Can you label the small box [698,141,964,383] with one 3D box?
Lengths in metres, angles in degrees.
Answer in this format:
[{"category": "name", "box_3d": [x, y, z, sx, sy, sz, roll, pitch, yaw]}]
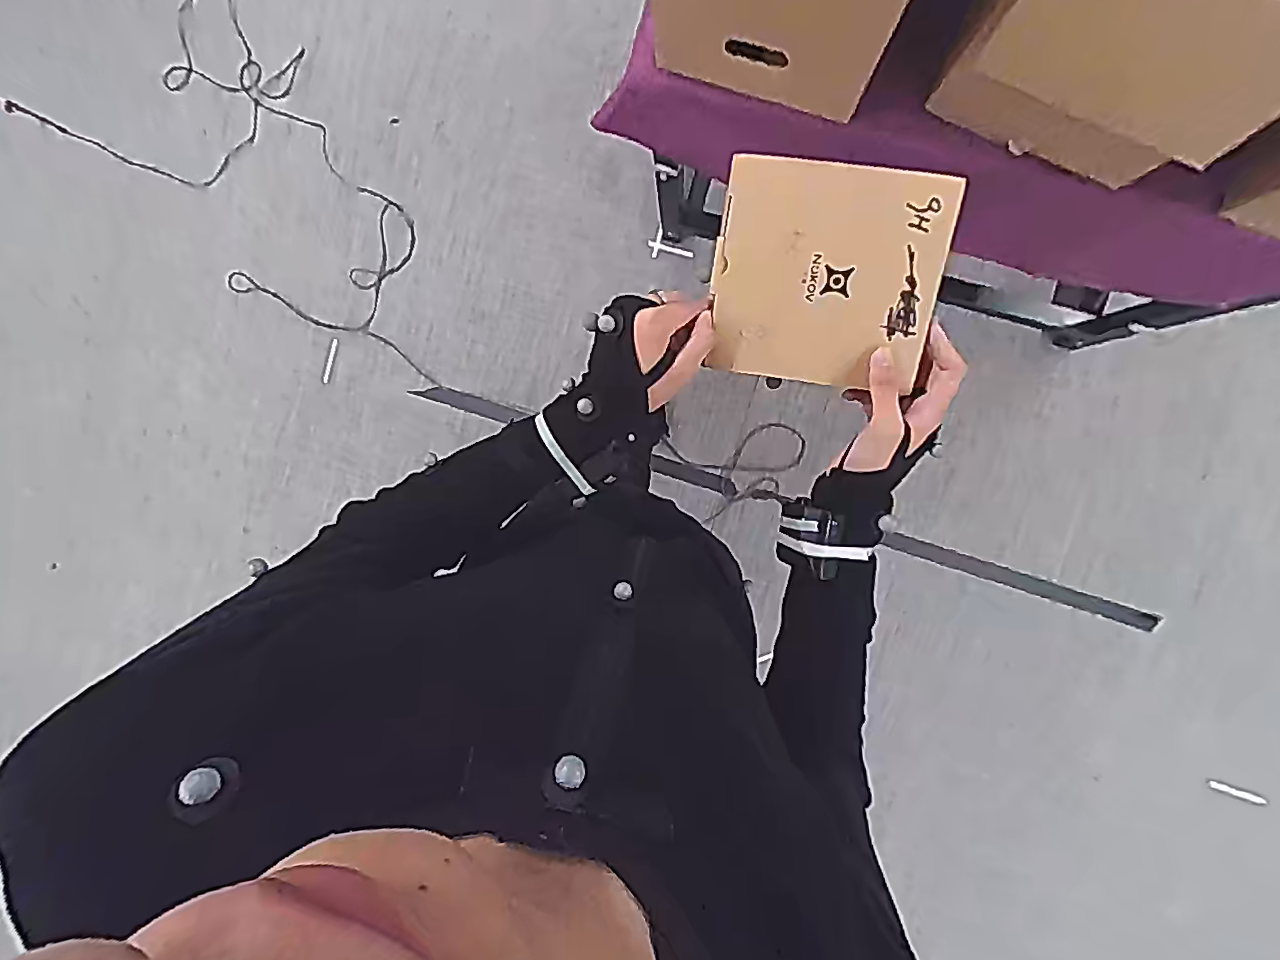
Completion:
[{"category": "small box", "box_3d": [0.156, -0.190, 0.506, 0.179, 0.176, 0.168, 10, 106, 5]}]
